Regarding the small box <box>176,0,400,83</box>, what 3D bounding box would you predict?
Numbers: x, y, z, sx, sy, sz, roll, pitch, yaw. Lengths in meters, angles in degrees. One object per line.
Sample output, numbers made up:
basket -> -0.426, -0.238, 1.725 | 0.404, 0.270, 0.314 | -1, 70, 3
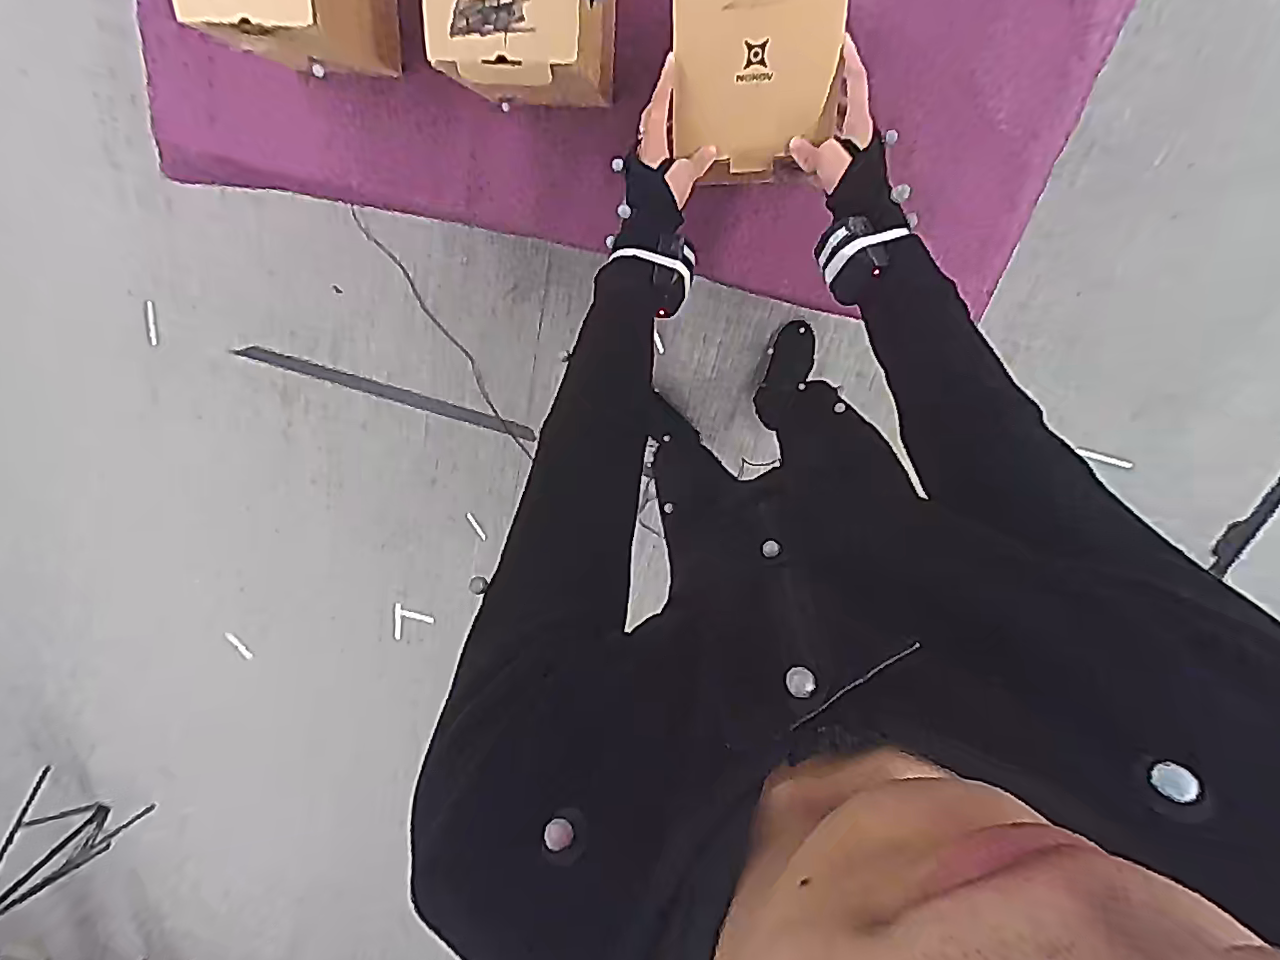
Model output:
small box -> -0.401, -0.594, 0.625 | 0.168, 0.176, 0.179 | 8, 113, 6

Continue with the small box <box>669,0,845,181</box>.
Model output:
small box -> 0.124, -0.442, 0.605 | 0.168, 0.176, 0.179 | 2, 111, 8

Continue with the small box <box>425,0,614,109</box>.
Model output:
small box -> -0.125, -0.537, 0.605 | 0.168, 0.176, 0.179 | 6, 112, 6
